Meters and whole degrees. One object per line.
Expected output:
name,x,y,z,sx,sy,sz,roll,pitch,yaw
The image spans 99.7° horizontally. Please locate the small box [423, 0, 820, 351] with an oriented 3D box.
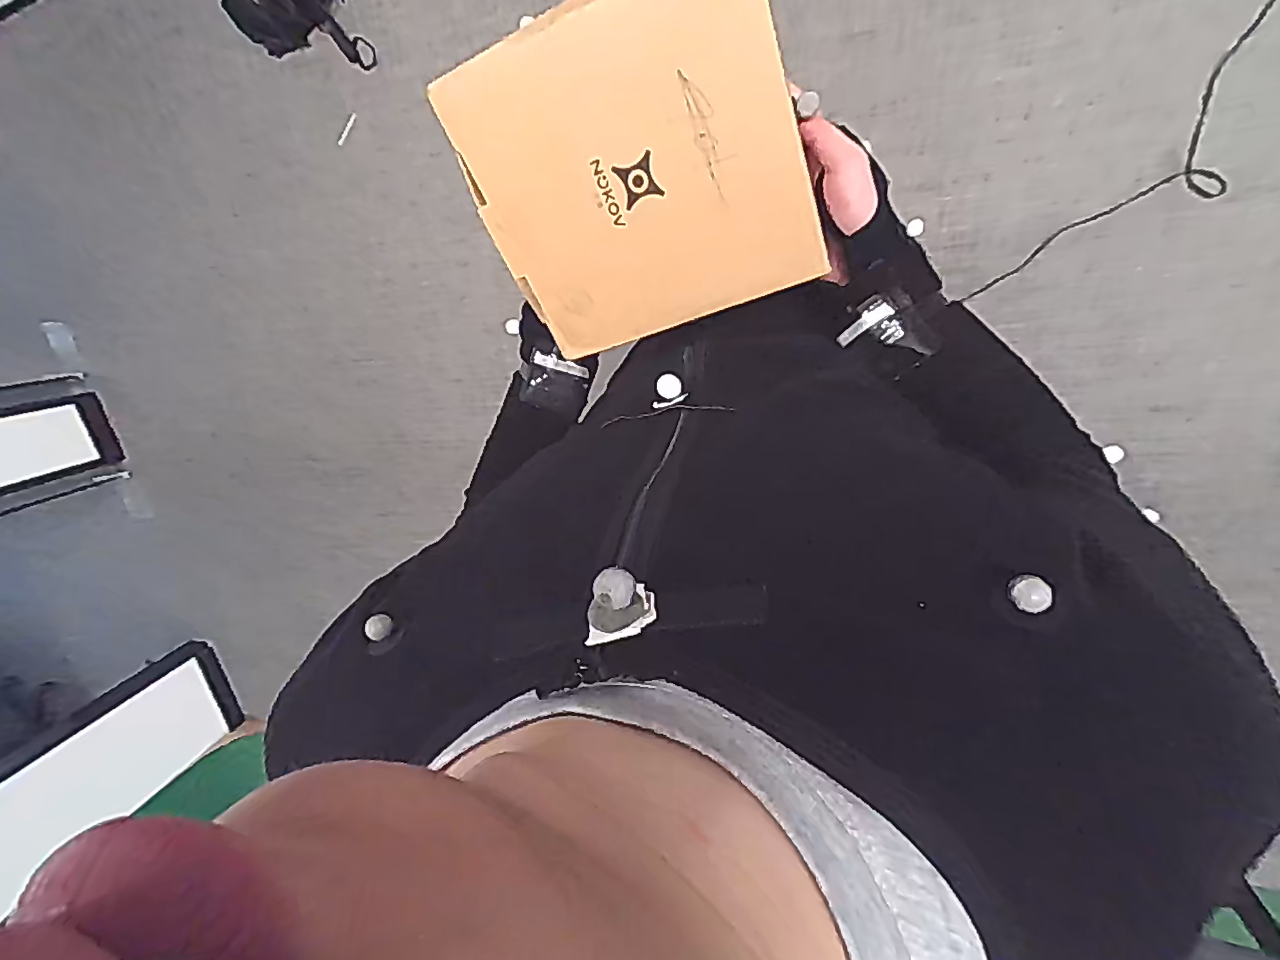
small box,0.007,-0.214,0.352,0.179,0.176,0.168,-14,124,22
